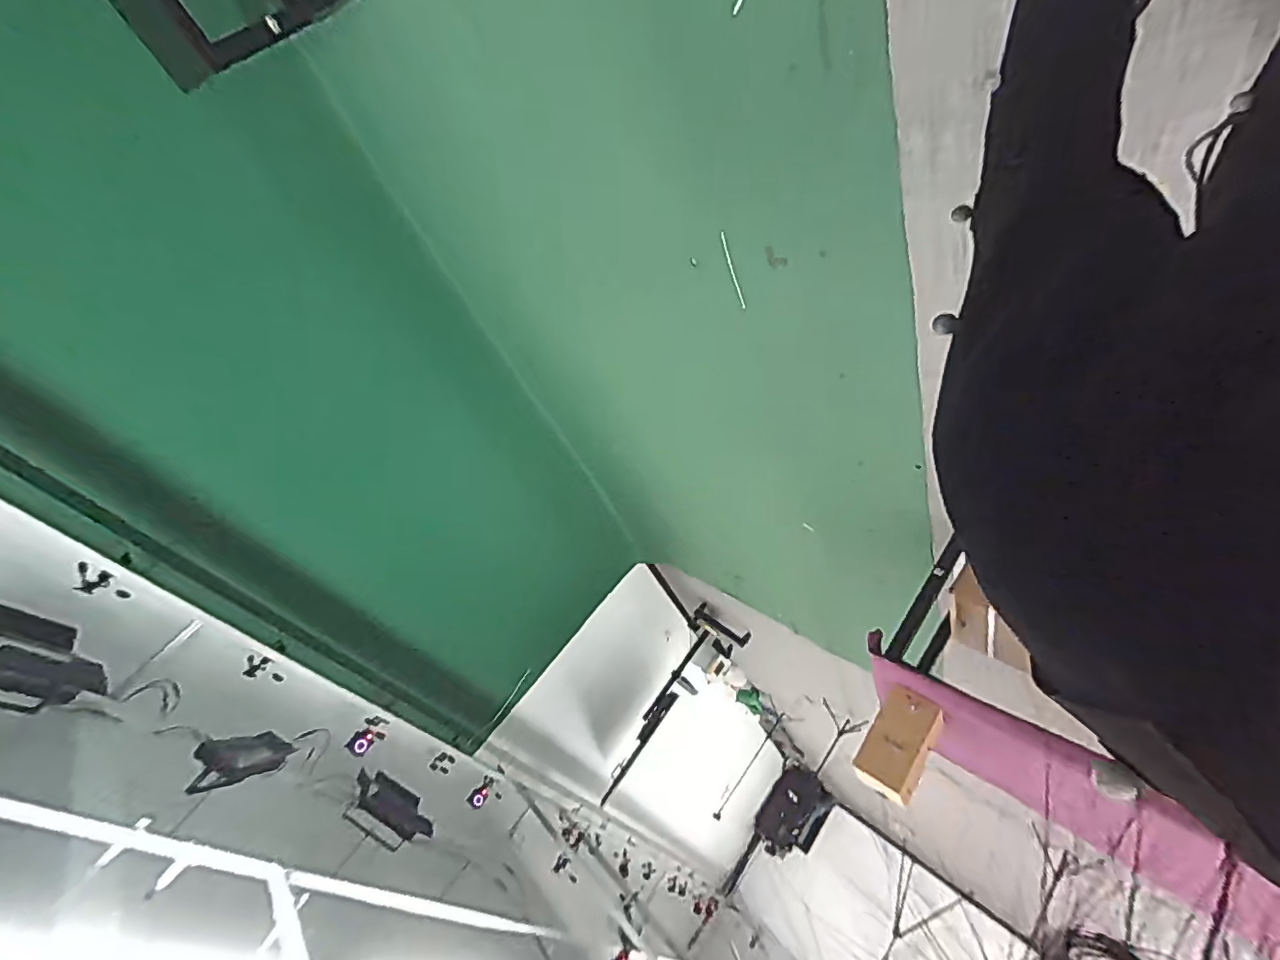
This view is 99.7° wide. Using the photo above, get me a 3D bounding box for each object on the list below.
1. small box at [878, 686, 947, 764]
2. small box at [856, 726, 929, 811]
[{"bbox_3d":[0.963,0.862,1.901,0.168,0.176,0.179,21,153,43],"label":"small box"},{"bbox_3d":[0.866,0.981,1.844,0.168,0.176,0.179,19,151,45],"label":"small box"}]
